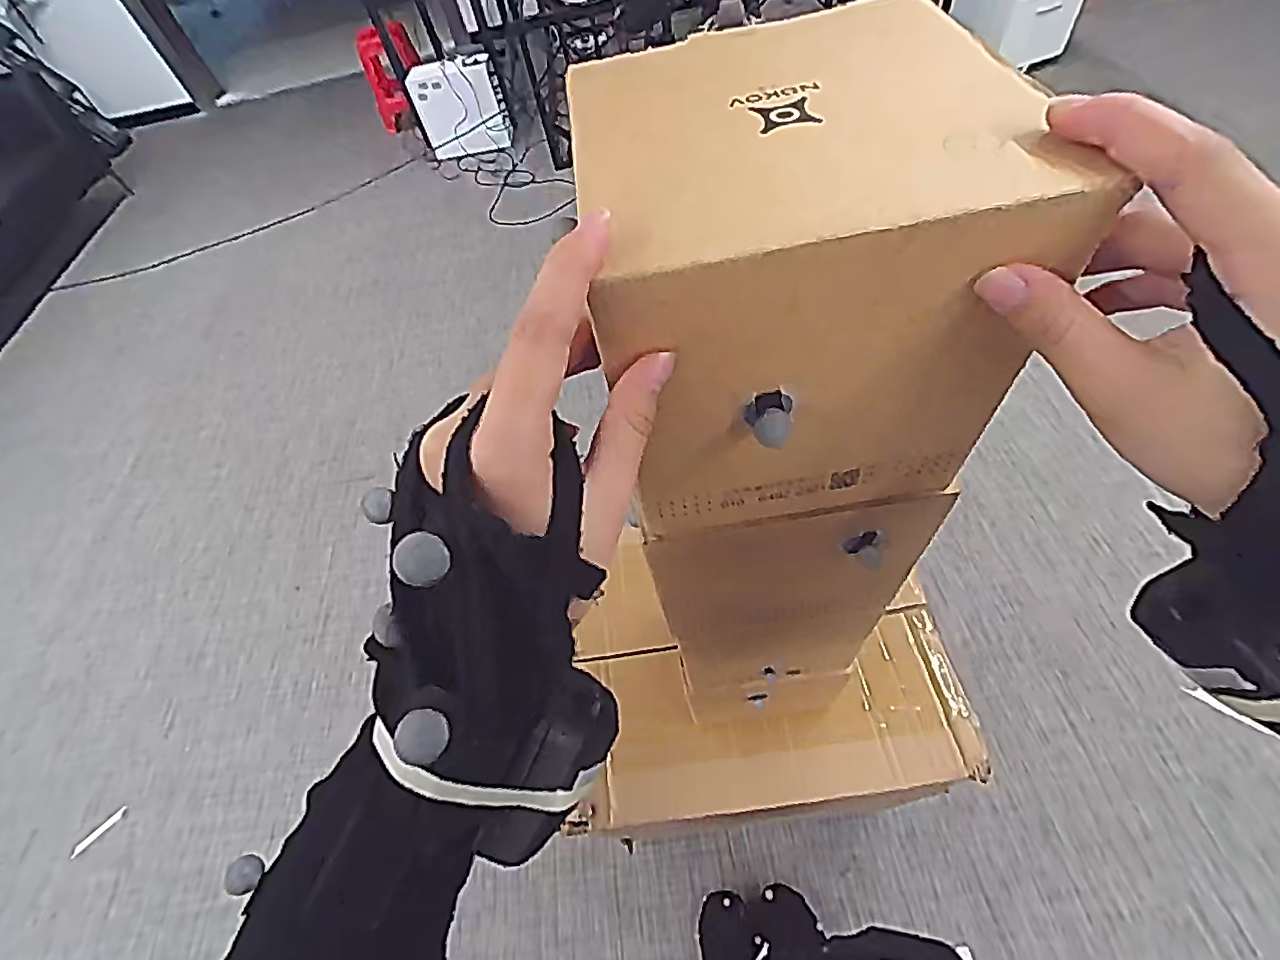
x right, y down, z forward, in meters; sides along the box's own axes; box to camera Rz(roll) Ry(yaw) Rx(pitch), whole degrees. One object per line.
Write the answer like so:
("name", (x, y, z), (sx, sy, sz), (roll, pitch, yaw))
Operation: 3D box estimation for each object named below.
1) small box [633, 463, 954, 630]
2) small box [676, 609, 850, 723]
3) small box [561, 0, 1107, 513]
("small box", (0.088, -0.002, 0.404), (0.179, 0.176, 0.168), (-10, 55, 4))
("small box", (0.137, 0.190, 0.667), (0.179, 0.176, 0.168), (-9, 55, 3))
("small box", (0.063, -0.097, 0.275), (0.168, 0.176, 0.179), (-10, 54, 4))
